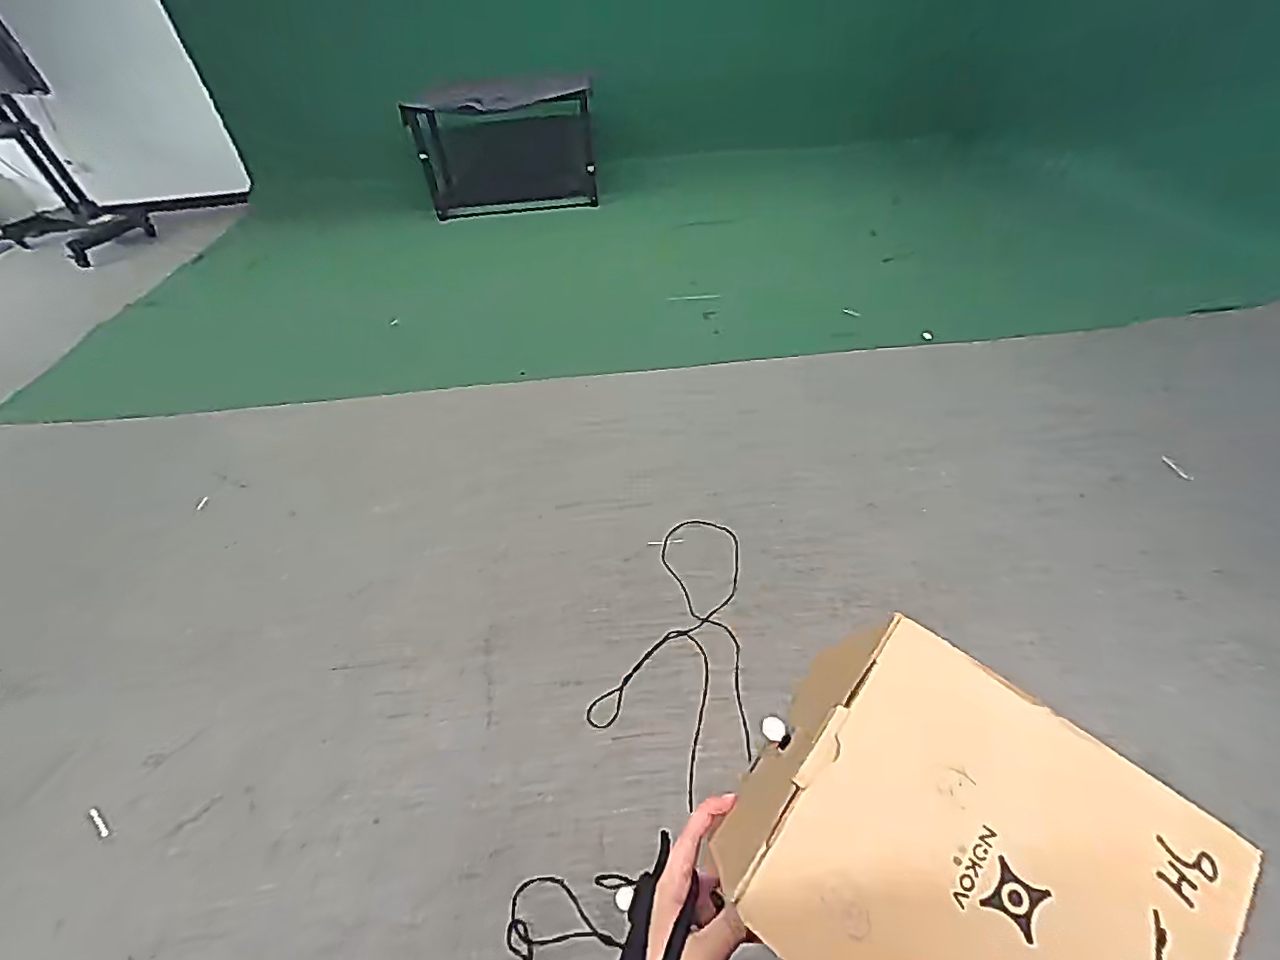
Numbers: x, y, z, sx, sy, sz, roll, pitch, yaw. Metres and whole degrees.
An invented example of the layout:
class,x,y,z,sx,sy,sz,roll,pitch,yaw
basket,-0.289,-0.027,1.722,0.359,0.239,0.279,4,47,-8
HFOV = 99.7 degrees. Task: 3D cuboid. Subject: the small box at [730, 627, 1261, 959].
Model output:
class,x,y,z,sx,sy,sz,roll,pitch,yaw
small box,0.170,0.218,0.319,0.179,0.176,0.168,35,72,17
